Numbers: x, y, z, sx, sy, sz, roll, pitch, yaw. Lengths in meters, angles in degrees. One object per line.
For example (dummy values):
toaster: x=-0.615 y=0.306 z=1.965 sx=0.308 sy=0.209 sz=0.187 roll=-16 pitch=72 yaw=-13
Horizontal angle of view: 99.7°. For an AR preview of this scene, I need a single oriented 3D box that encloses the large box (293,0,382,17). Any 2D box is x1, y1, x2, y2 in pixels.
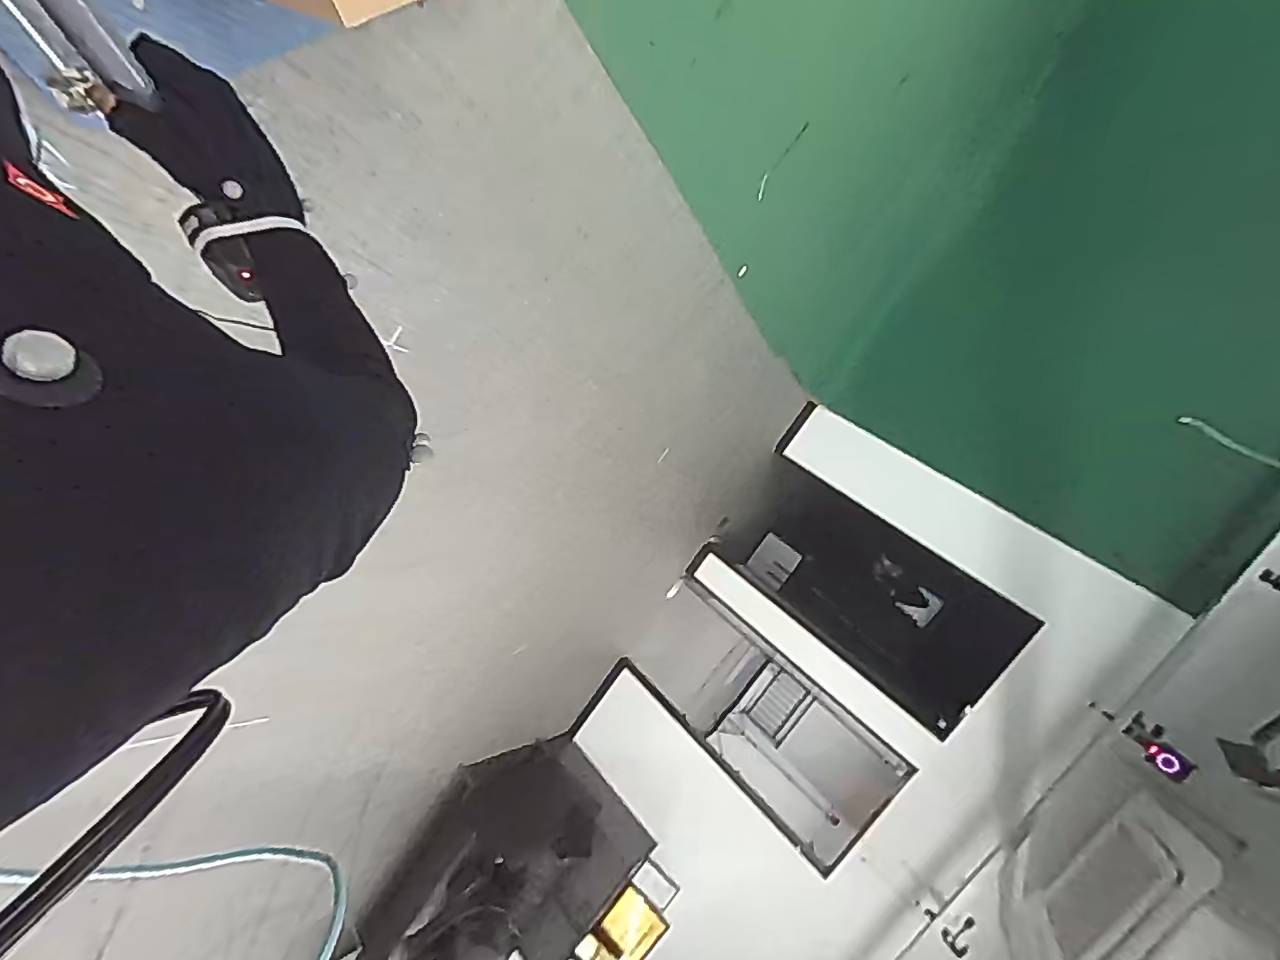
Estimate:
large box: x=-0.436 y=-0.921 z=0.697 sx=0.320 sy=0.320 sz=0.408 roll=-42 pitch=150 yaw=-17
